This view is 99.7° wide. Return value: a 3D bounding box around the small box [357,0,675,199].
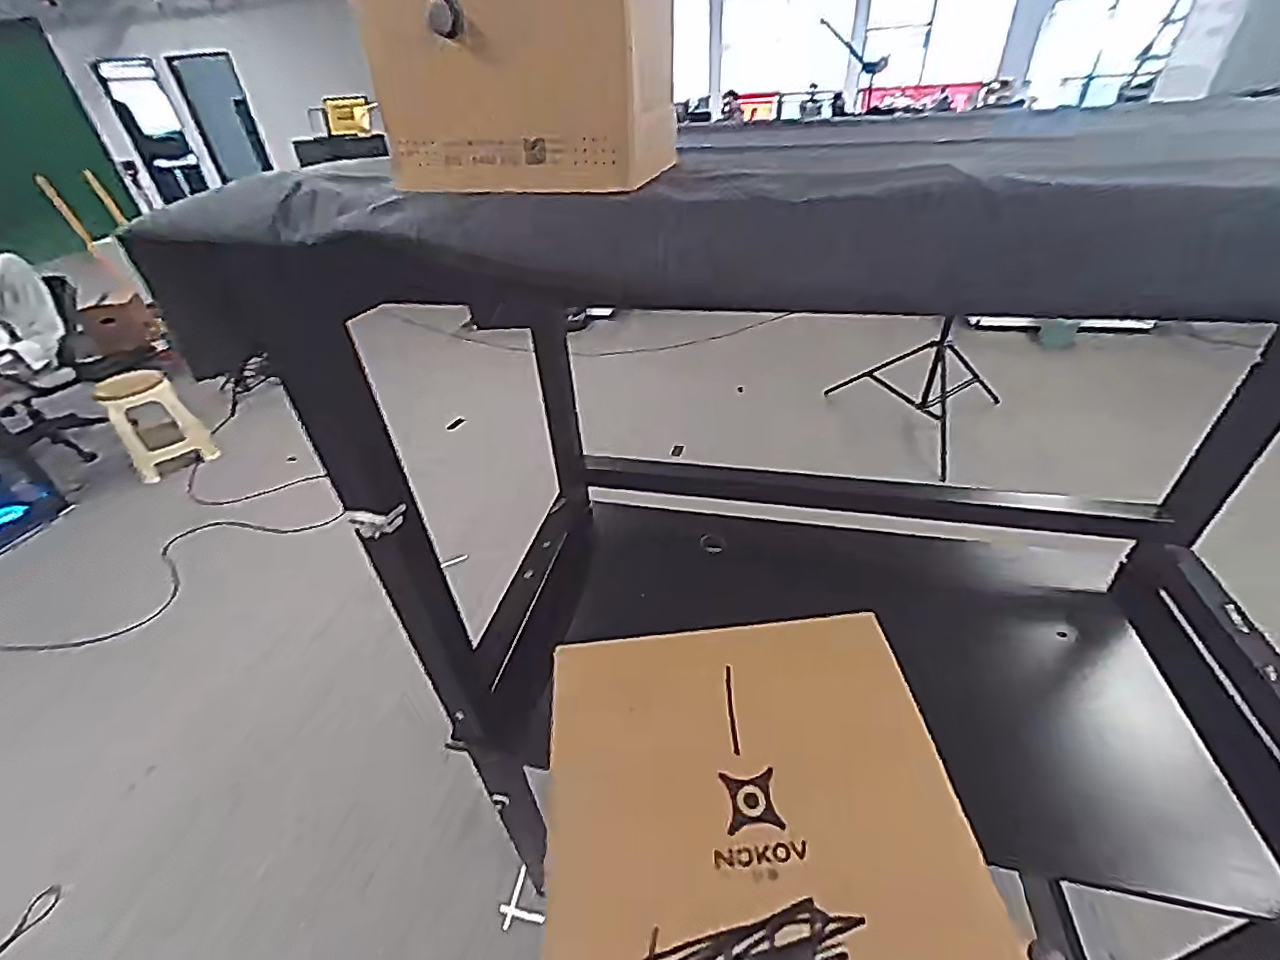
[{"bbox_3d":[-0.068,-0.298,0.375,0.168,0.176,0.179,6,35,11],"label":"small box"}]
